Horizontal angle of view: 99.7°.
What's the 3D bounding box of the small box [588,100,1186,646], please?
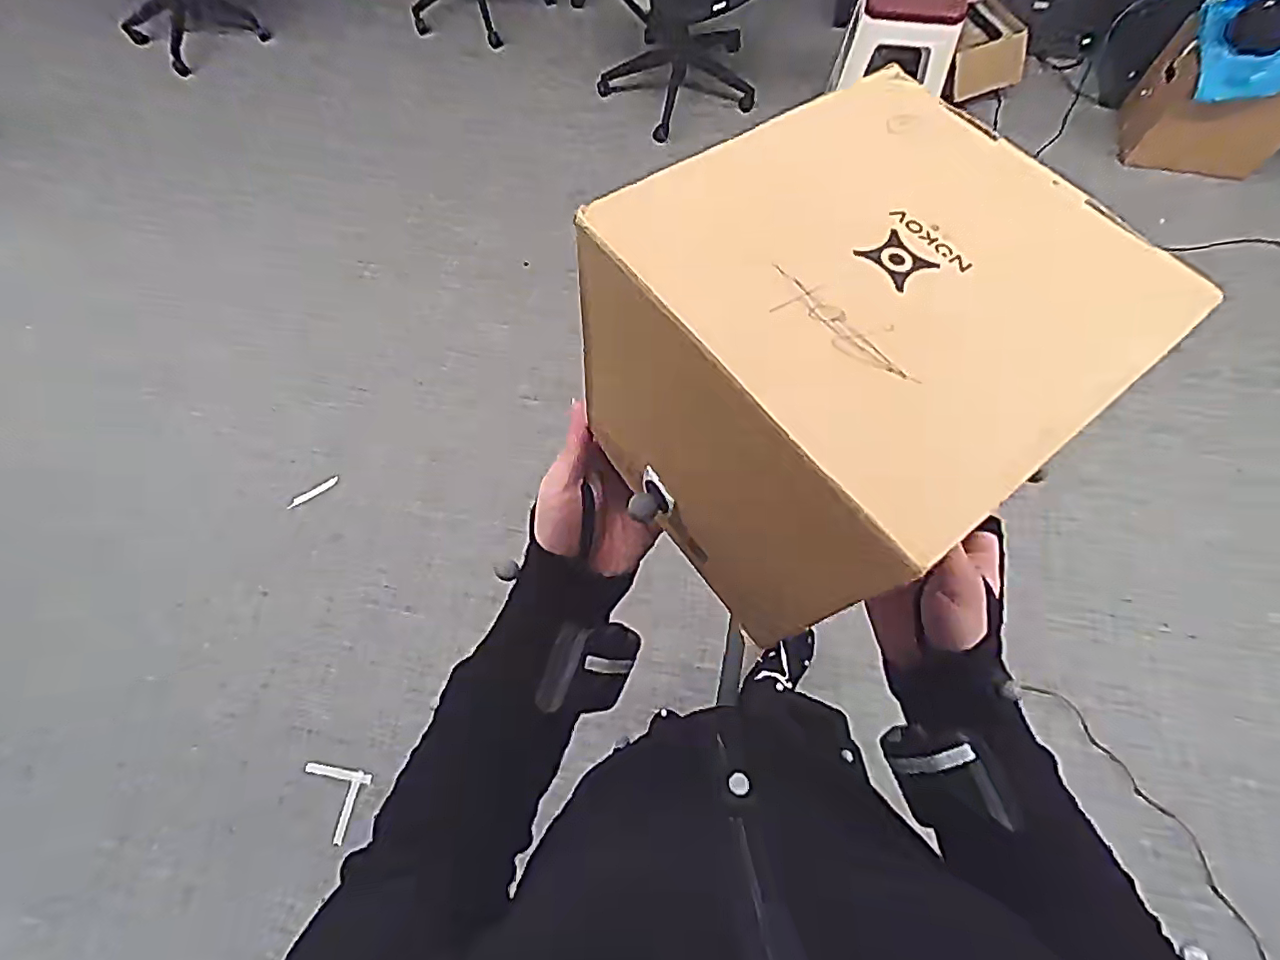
[{"bbox_3d":[0.089,-0.039,0.278,0.179,0.176,0.168,-34,71,-16],"label":"small box"}]
